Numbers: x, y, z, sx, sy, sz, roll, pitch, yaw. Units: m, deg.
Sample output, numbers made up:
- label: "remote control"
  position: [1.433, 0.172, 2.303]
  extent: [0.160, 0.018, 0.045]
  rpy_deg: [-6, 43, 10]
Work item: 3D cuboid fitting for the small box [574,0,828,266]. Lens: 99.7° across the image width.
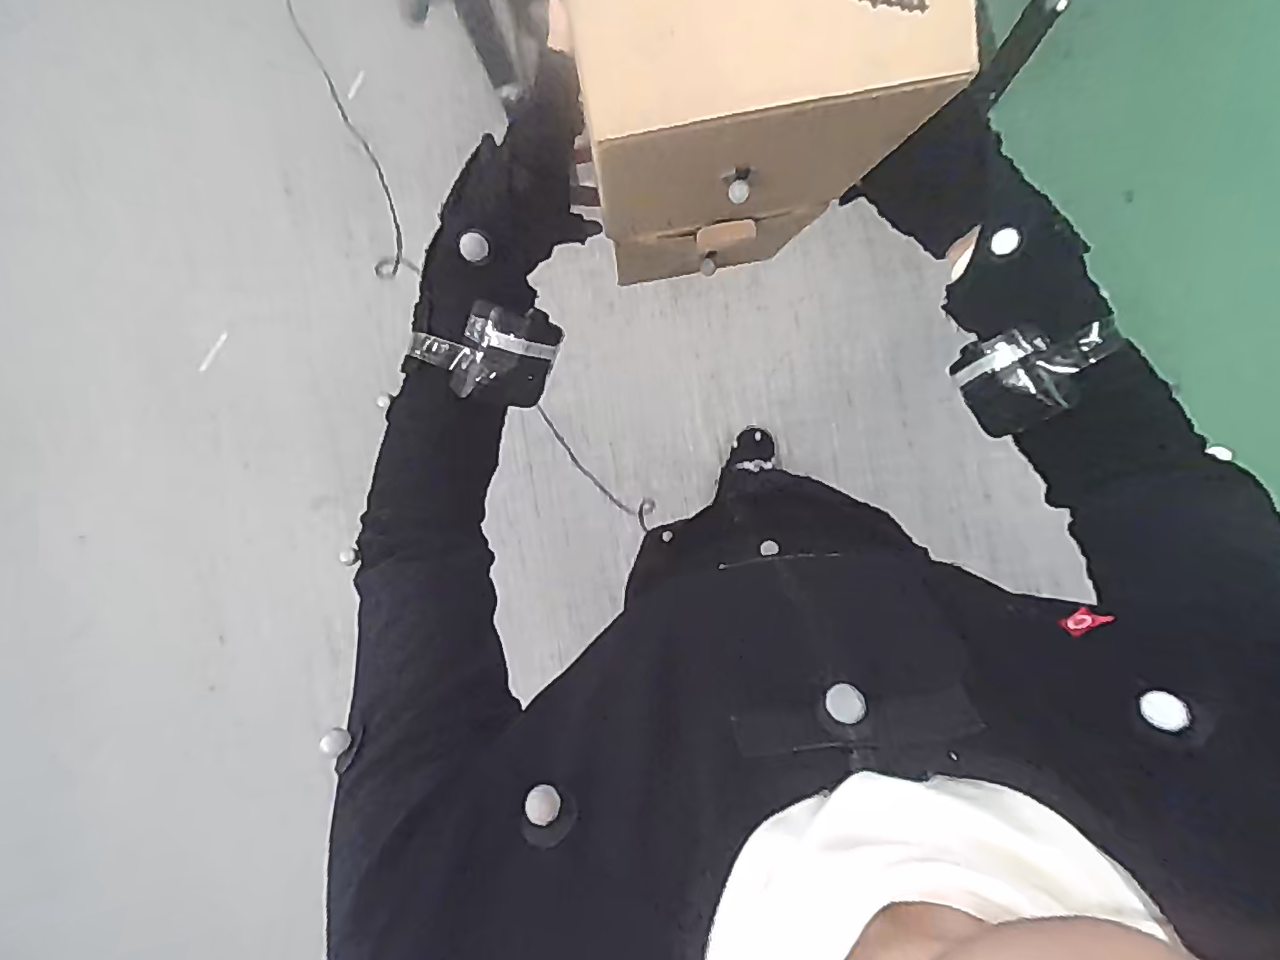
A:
- label: "small box"
  position: [0.045, -0.295, 0.466]
  extent: [0.168, 0.176, 0.179]
  rpy_deg: [-10, 101, 0]
